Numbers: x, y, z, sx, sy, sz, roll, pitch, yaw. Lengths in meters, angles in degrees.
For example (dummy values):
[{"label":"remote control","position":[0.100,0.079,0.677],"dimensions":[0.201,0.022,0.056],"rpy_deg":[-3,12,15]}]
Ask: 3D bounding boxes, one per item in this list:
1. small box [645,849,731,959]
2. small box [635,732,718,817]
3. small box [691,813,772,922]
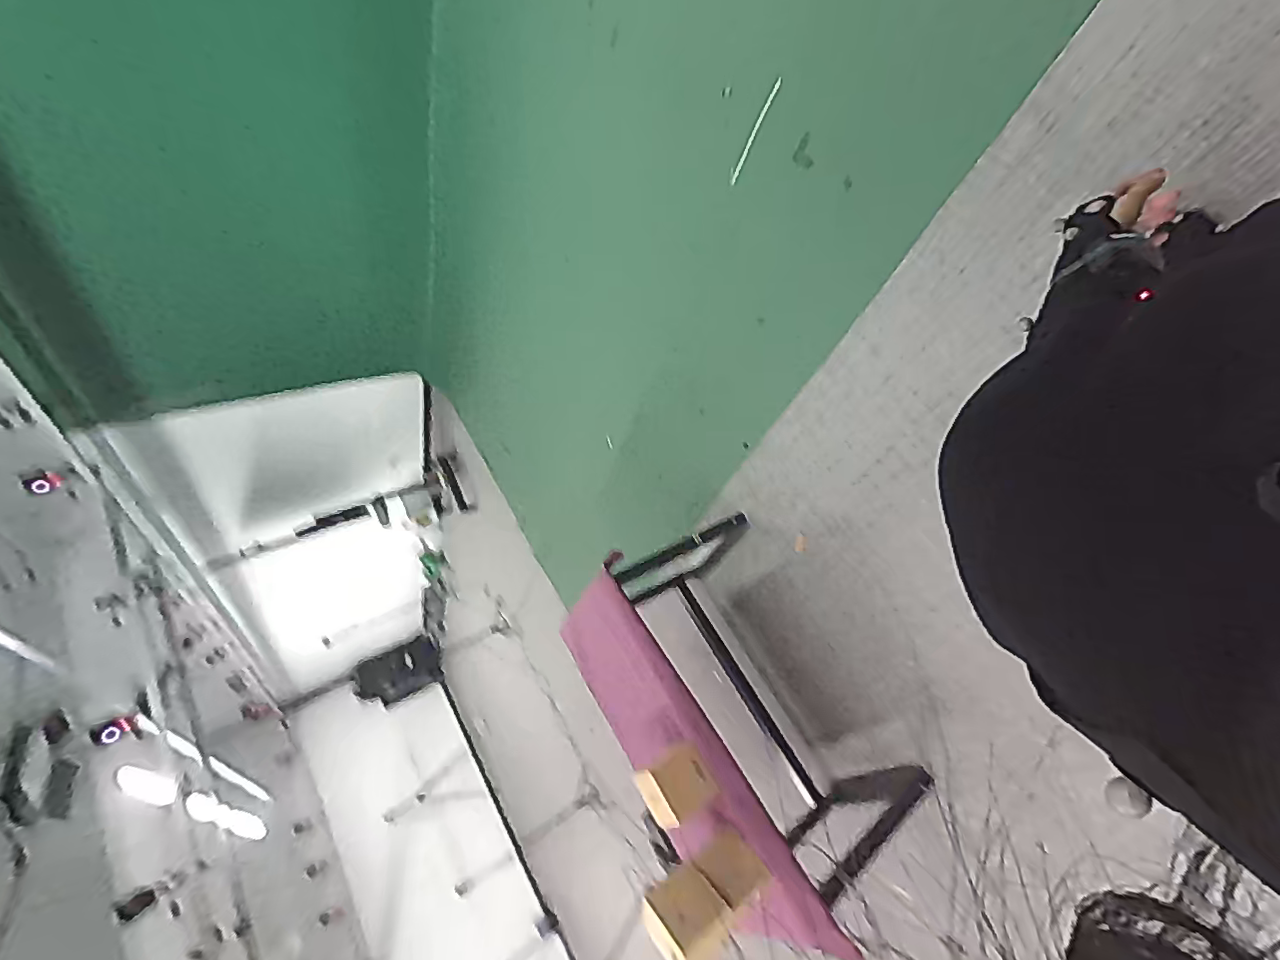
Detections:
[{"label":"small box","position":[0.137,1.182,1.493],"dimensions":[0.179,0.176,0.168],"rpy_deg":[28,129,48]},{"label":"small box","position":[0.115,0.916,1.684],"dimensions":[0.168,0.176,0.179],"rpy_deg":[56,146,18]},{"label":"small box","position":[0.261,1.138,1.594],"dimensions":[0.179,0.176,0.168],"rpy_deg":[38,137,39]}]
